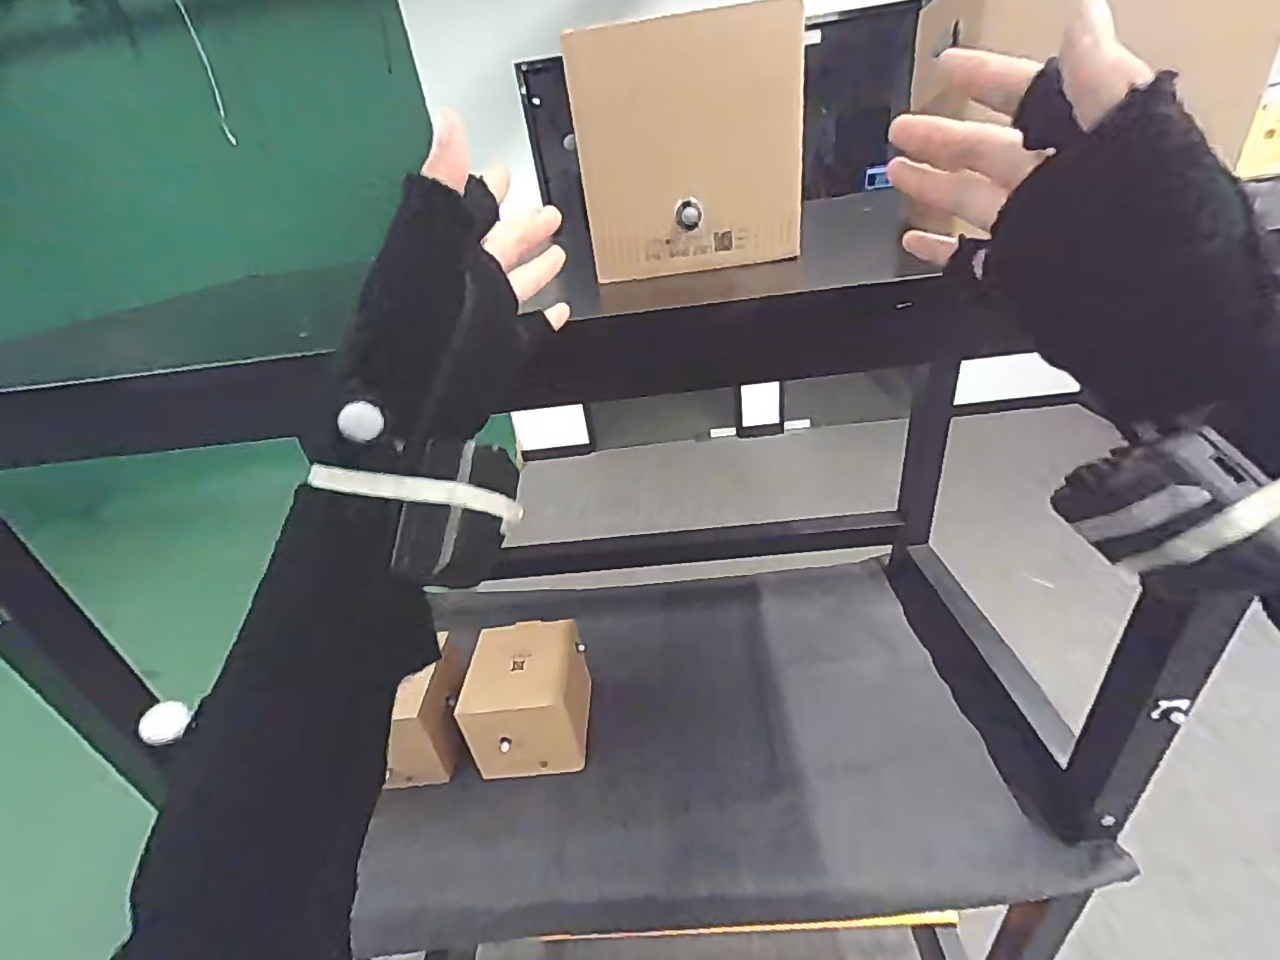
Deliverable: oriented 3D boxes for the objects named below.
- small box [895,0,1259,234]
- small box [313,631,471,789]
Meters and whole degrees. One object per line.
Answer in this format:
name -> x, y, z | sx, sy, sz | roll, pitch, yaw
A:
small box -> 0.301, -0.289, 0.407 | 0.168, 0.176, 0.179 | -1, 30, 14
small box -> -0.398, 0.382, 0.909 | 0.168, 0.176, 0.179 | -7, 30, 3
